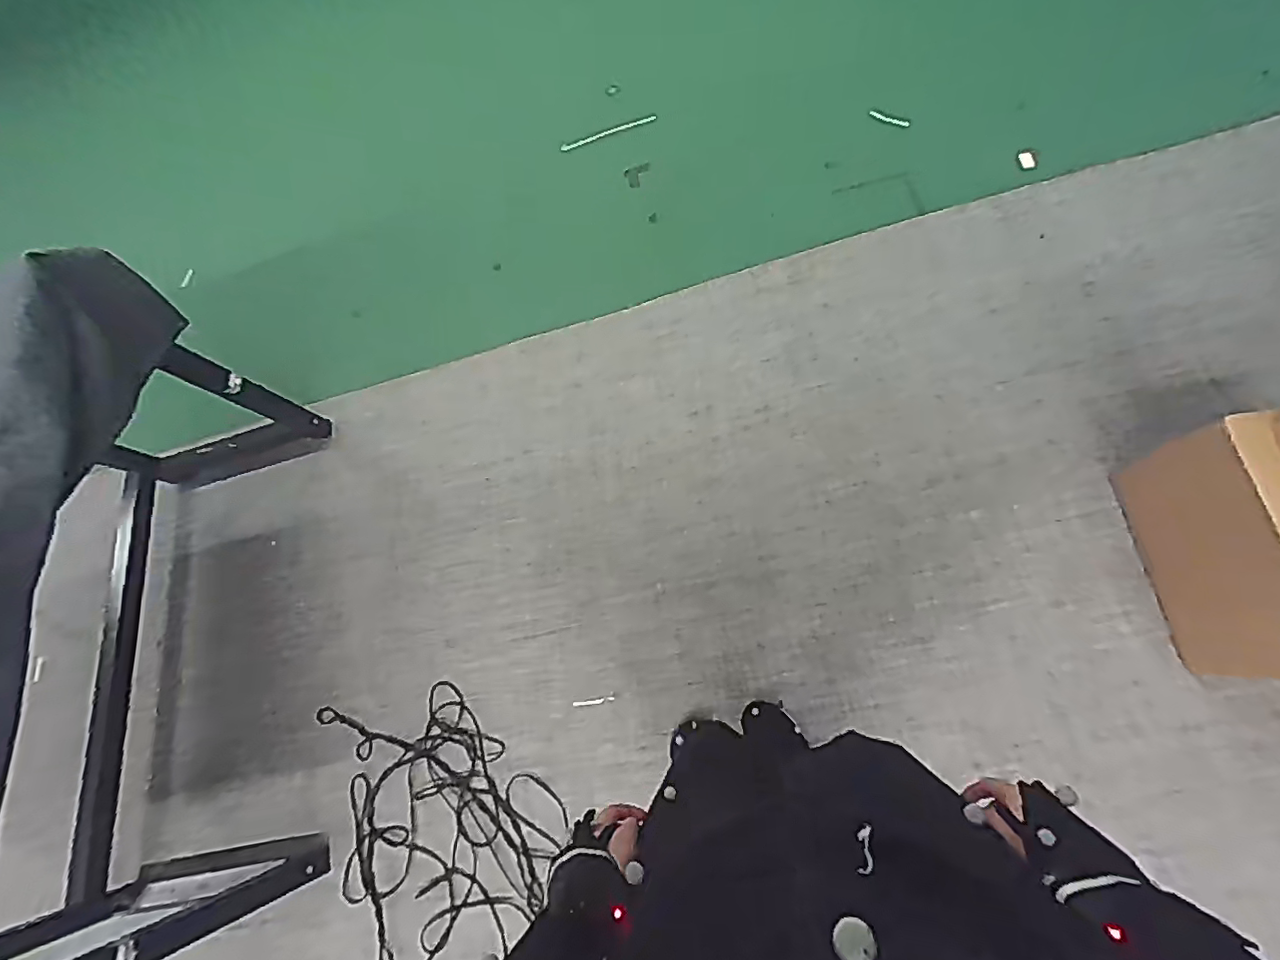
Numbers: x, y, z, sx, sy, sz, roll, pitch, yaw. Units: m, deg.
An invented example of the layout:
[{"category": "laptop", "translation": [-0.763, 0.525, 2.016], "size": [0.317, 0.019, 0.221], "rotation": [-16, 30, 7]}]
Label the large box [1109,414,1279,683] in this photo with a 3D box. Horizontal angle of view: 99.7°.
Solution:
[{"category": "large box", "translation": [1.114, 0.109, 0.905], "size": [0.320, 0.320, 0.408], "rotation": [-11, 72, 11]}]
